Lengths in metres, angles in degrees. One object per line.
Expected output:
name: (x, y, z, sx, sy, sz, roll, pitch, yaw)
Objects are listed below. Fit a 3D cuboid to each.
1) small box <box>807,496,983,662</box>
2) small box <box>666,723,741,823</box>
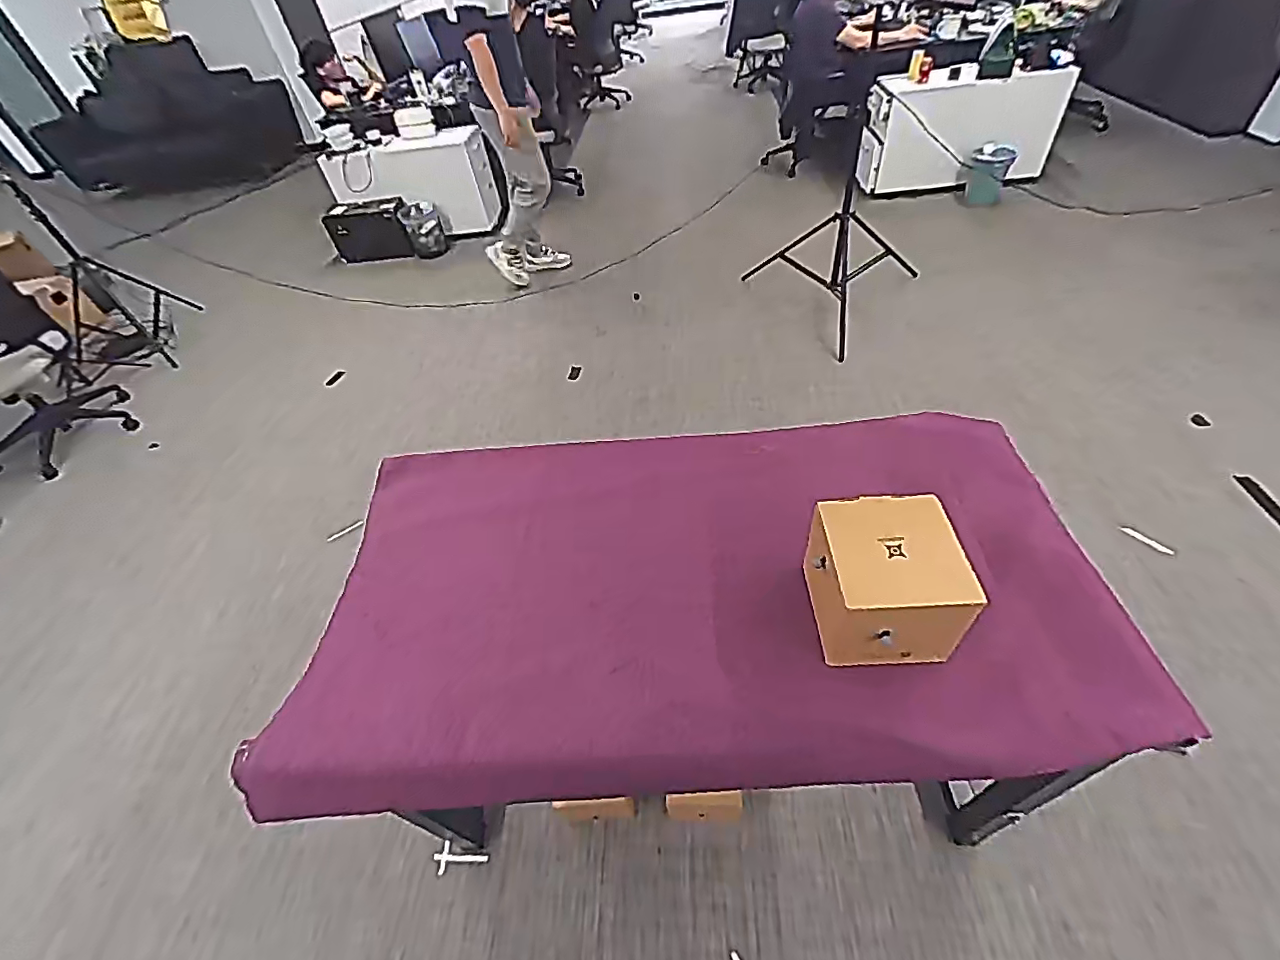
small box: (0.342, 0.146, 0.766, 0.168, 0.176, 0.179, -4, 46, 5)
small box: (0.153, 0.697, 1.282, 0.168, 0.176, 0.179, -2, 46, 6)
